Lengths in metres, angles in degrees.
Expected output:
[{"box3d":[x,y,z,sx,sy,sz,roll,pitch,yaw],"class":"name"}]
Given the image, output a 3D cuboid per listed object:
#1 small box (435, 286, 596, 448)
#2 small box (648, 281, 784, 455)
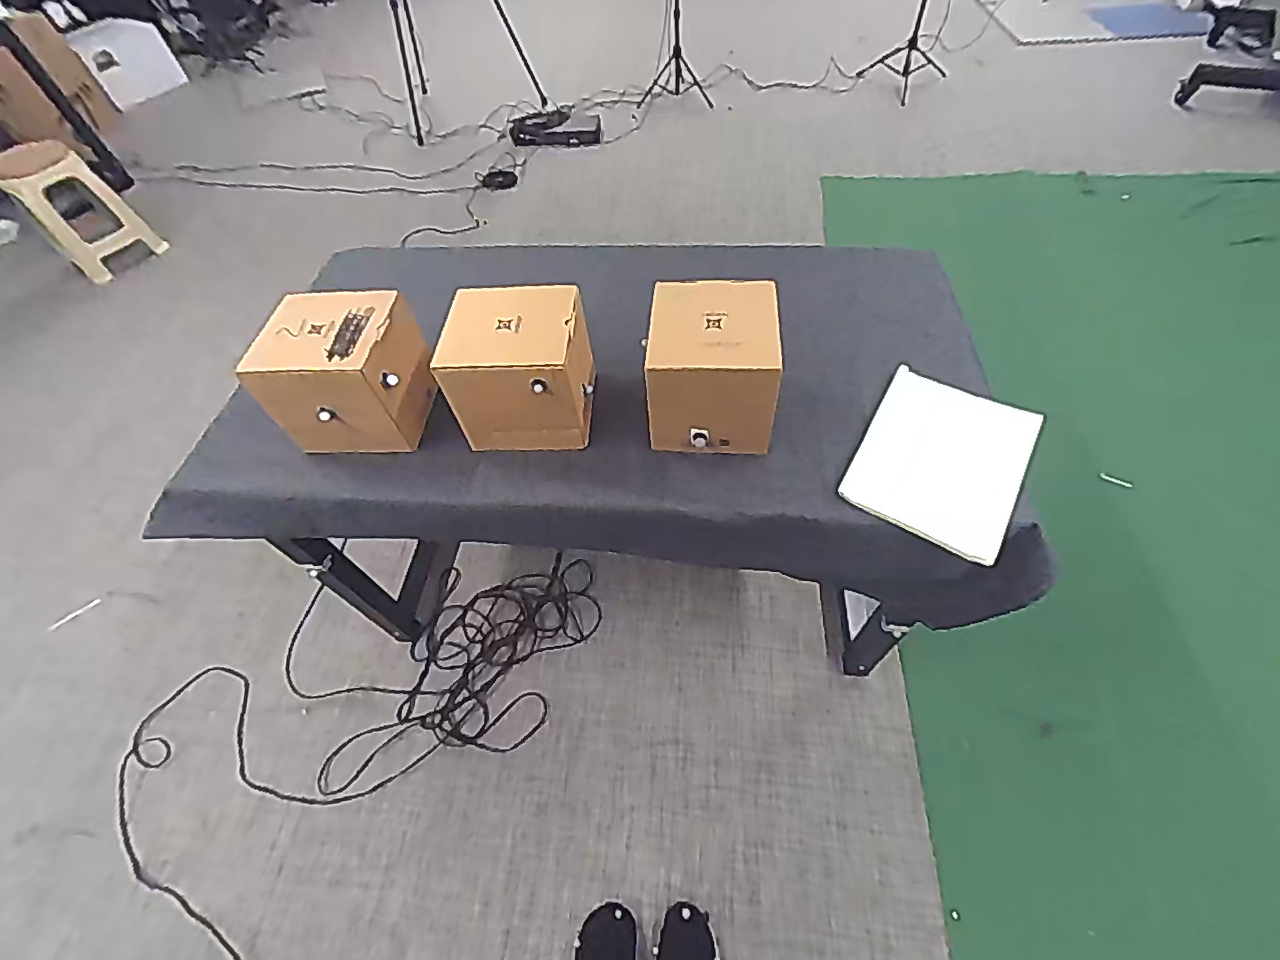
[{"box3d":[-0.166,-0.158,0.786,0.179,0.176,0.168,-1,54,3],"class":"small box"},{"box3d":[0.104,-0.156,0.761,0.168,0.176,0.179,1,55,7],"class":"small box"}]
